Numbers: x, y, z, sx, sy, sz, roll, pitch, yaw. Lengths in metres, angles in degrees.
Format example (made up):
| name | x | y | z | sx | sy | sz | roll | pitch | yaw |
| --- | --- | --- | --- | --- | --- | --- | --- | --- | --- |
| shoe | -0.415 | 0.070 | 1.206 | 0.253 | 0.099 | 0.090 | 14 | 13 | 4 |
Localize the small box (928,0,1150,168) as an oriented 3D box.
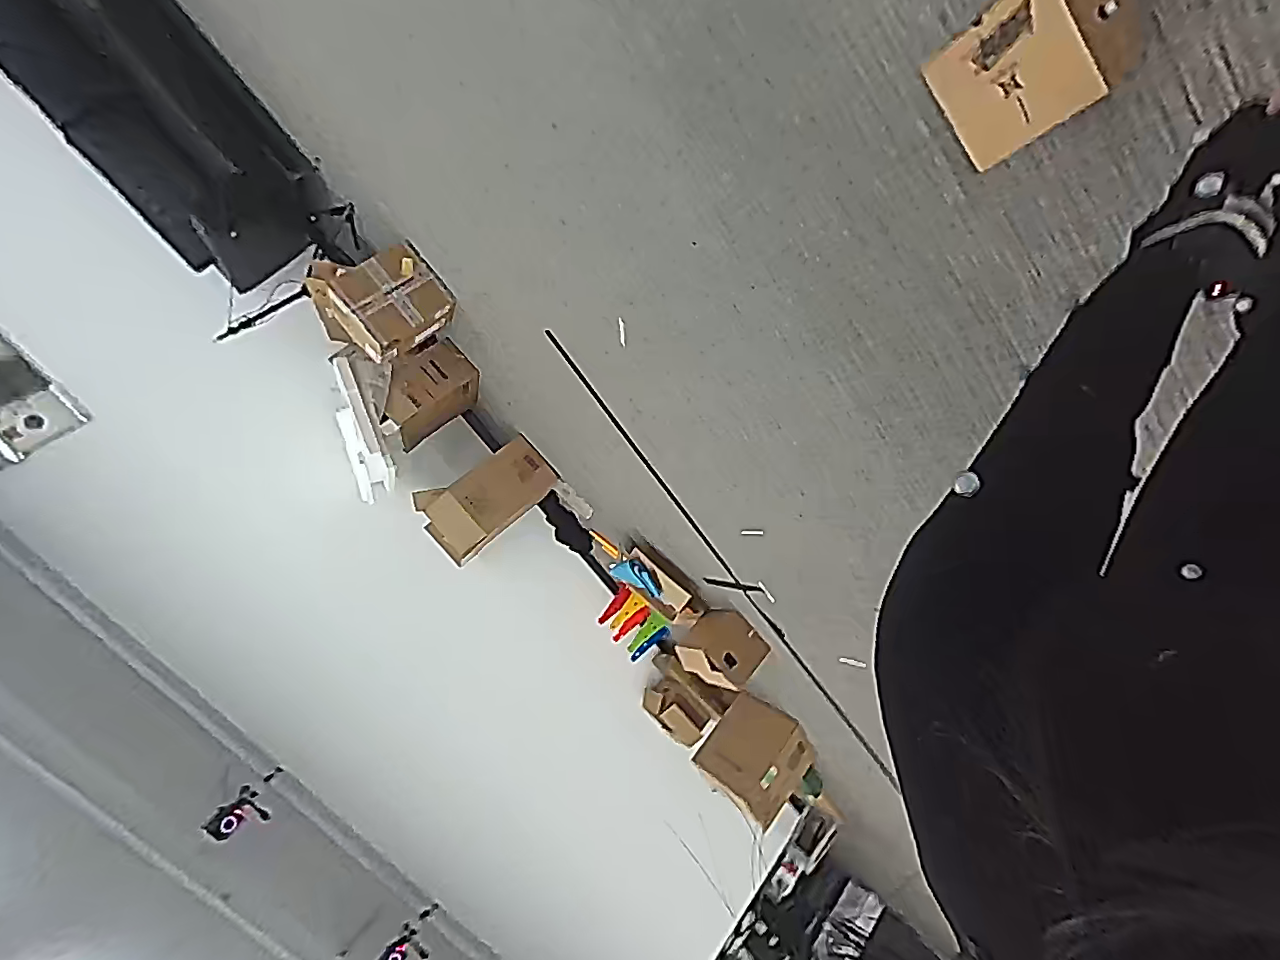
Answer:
| name | x | y | z | sx | sy | sz | roll | pitch | yaw |
| --- | --- | --- | --- | --- | --- | --- | --- | --- | --- |
| small box | 0.545 | -0.584 | 0.742 | 0.179 | 0.176 | 0.168 | 51 | 157 | -11 |
